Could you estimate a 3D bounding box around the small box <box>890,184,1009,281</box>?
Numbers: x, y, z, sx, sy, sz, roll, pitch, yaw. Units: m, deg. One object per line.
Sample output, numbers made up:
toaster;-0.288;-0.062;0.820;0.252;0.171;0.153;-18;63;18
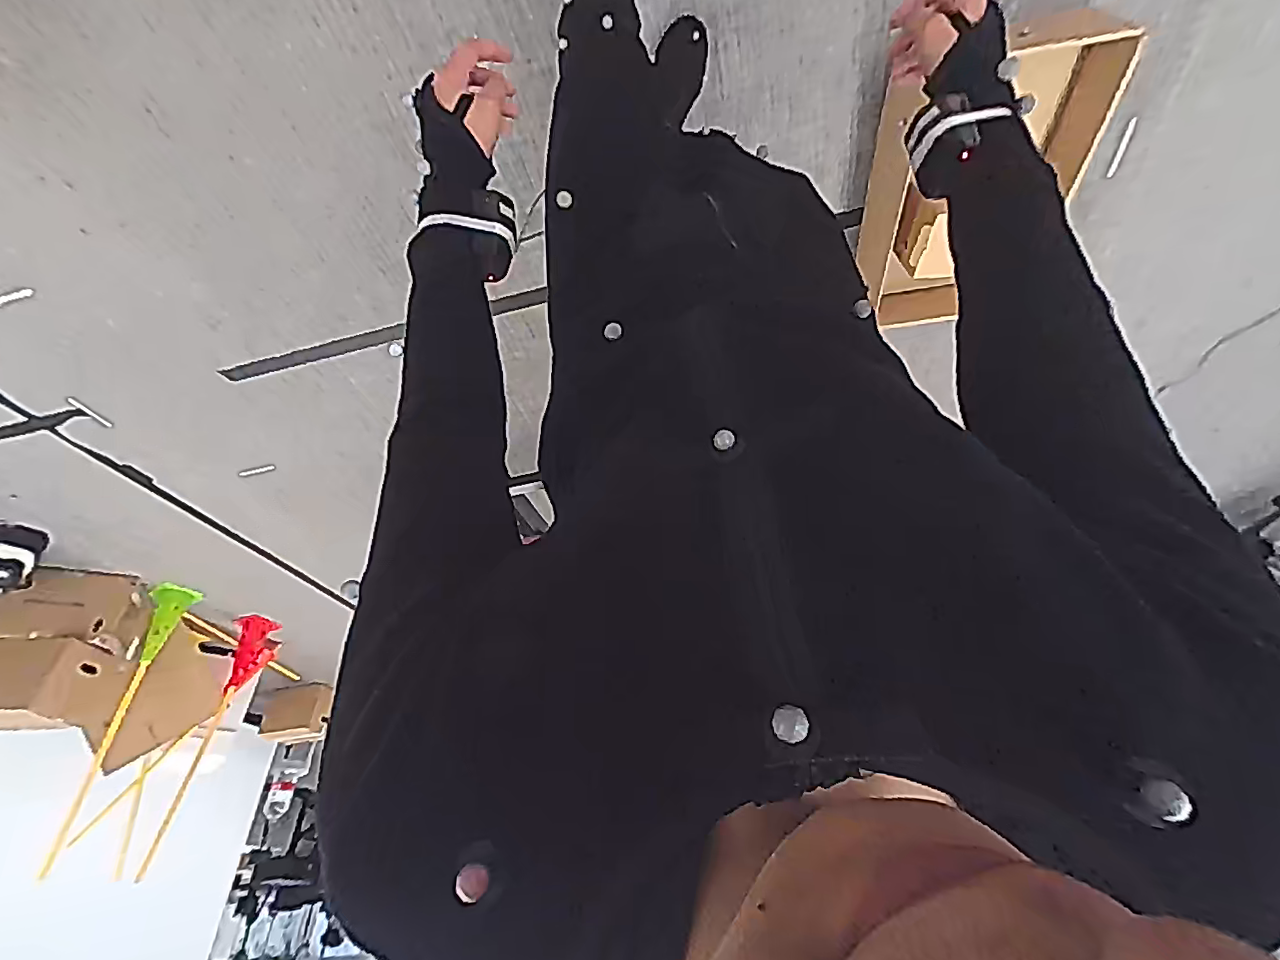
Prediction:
small box;0.749;-0.612;1.336;0.179;0.176;0.168;-3;142;-2
